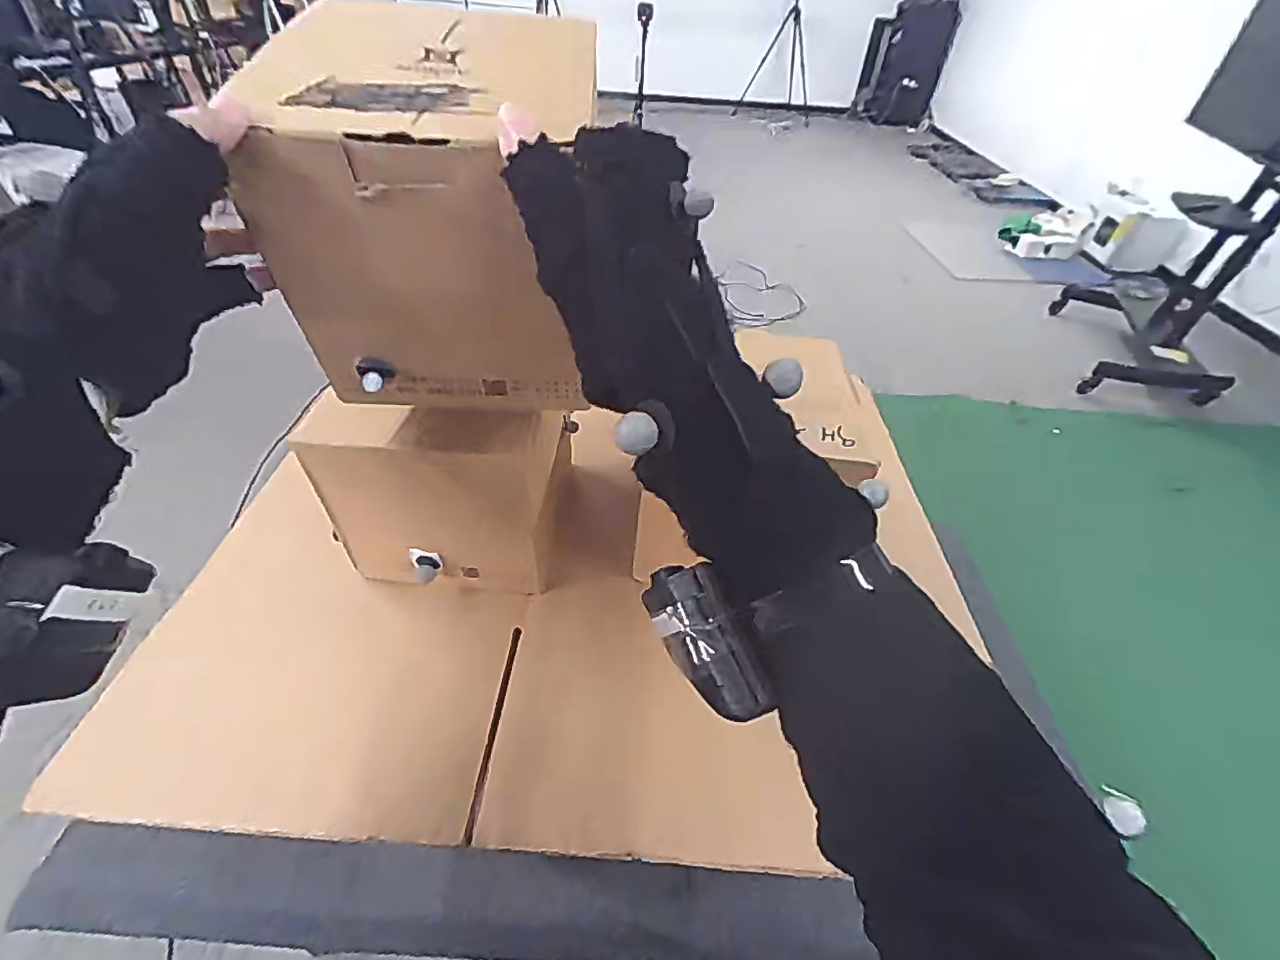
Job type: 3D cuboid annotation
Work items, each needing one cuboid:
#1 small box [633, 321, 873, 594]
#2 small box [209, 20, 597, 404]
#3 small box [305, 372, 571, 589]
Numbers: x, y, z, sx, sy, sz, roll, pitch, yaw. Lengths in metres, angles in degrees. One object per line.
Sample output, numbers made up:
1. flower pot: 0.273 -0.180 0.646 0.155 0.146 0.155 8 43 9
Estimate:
1. small box: 0.085 -0.022 0.500 0.168 0.176 0.179 6 44 0
2. small box: -0.115 -0.166 0.354 0.168 0.176 0.179 1 54 -3
3. small box: -0.156 -0.024 0.494 0.168 0.176 0.179 3 46 0
